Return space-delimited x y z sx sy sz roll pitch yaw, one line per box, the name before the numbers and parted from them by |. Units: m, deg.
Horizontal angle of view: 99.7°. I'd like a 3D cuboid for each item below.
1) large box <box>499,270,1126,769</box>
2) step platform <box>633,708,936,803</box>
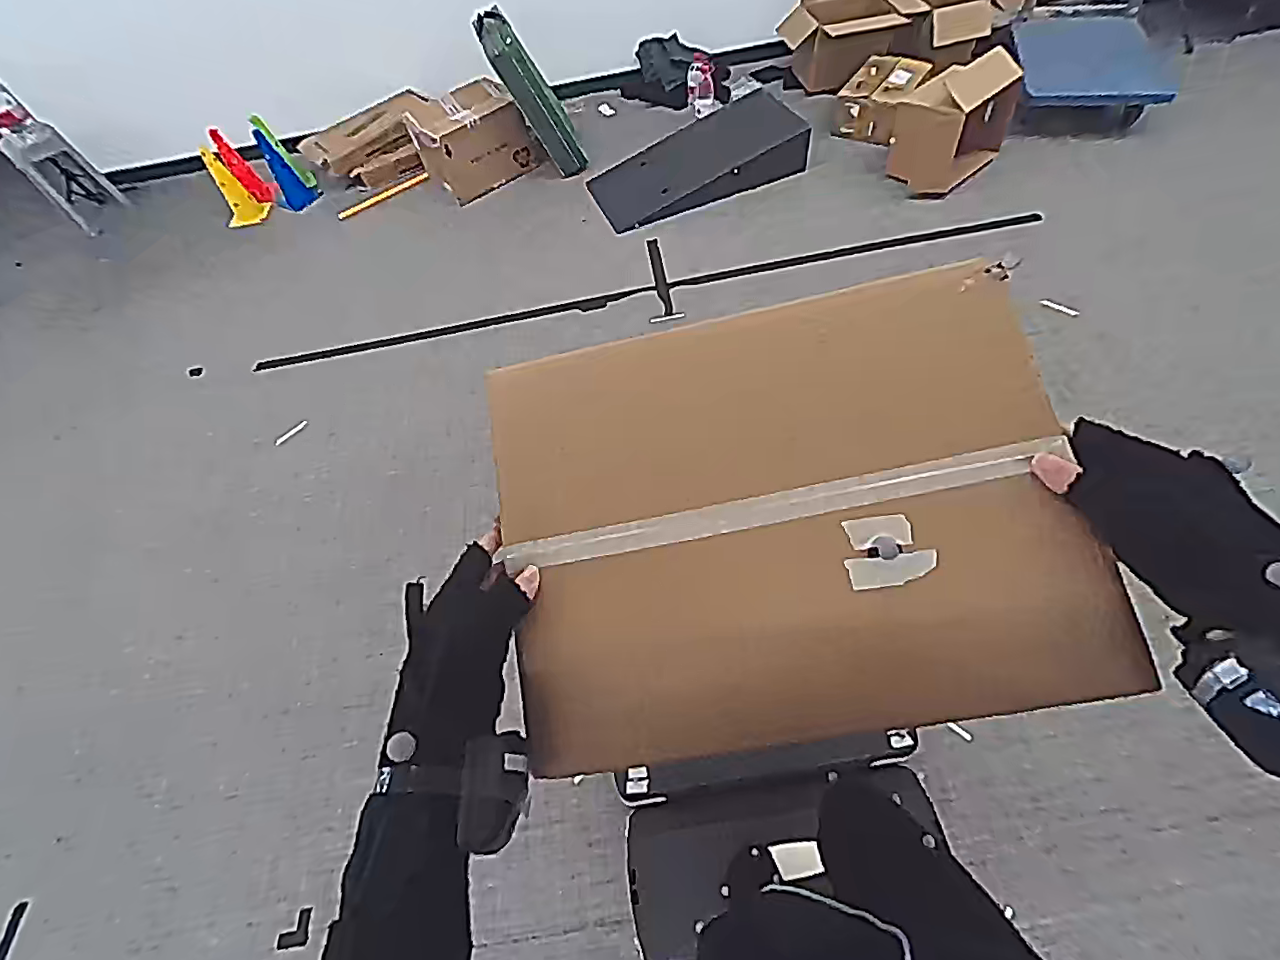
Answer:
large box | 0.118 0.056 0.550 0.408 0.320 0.320 -12 76 6
step platform | 0.308 0.548 1.280 0.684 0.204 0.286 -11 57 0
